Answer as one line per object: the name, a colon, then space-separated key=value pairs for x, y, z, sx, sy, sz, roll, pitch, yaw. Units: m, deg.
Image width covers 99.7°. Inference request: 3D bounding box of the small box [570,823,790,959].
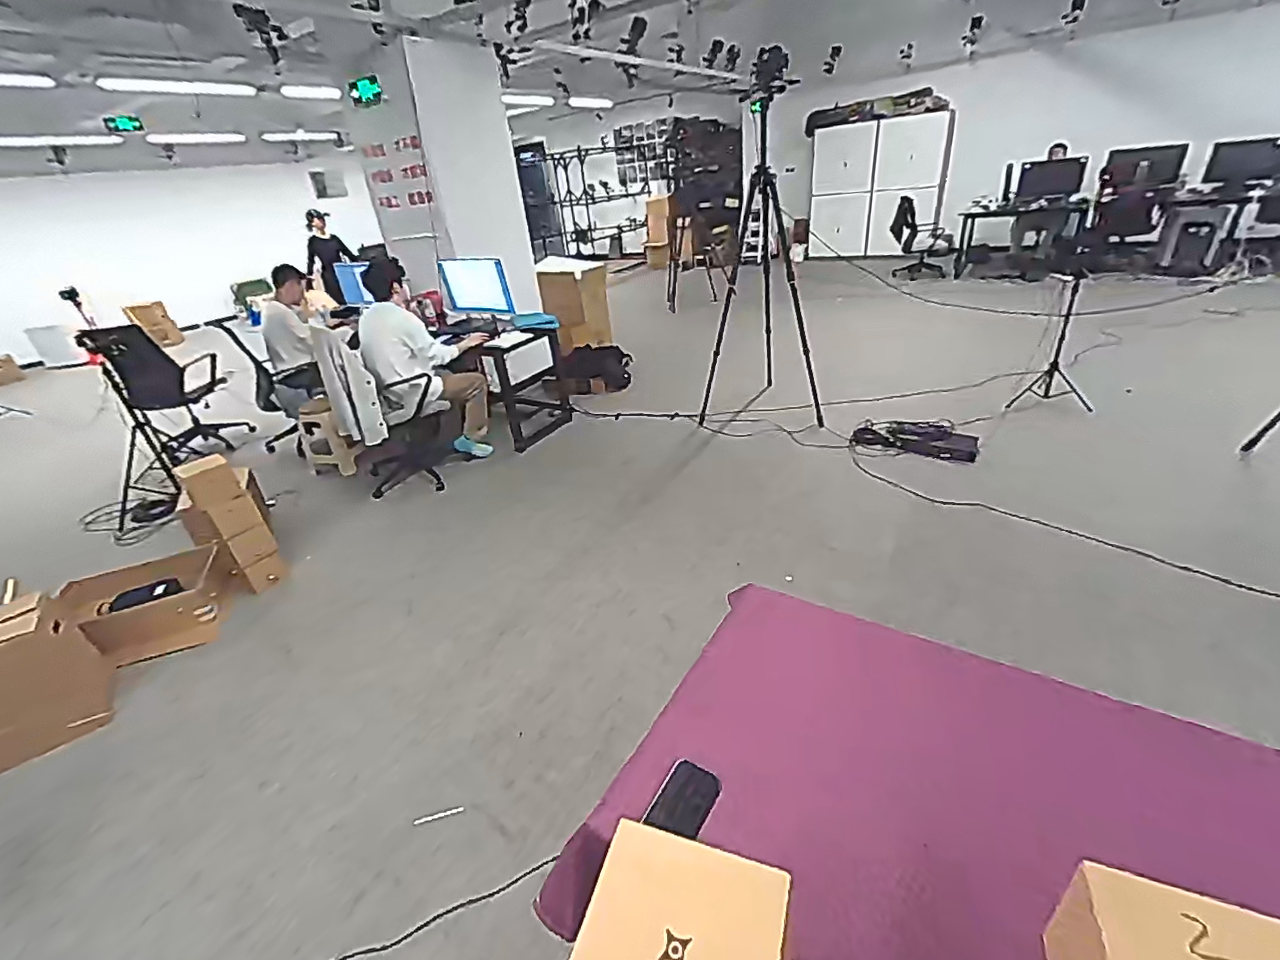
small box: x=0.037 y=0.461 z=0.486 sx=0.168 sy=0.176 sz=0.179 roll=5 pitch=35 yaw=22
